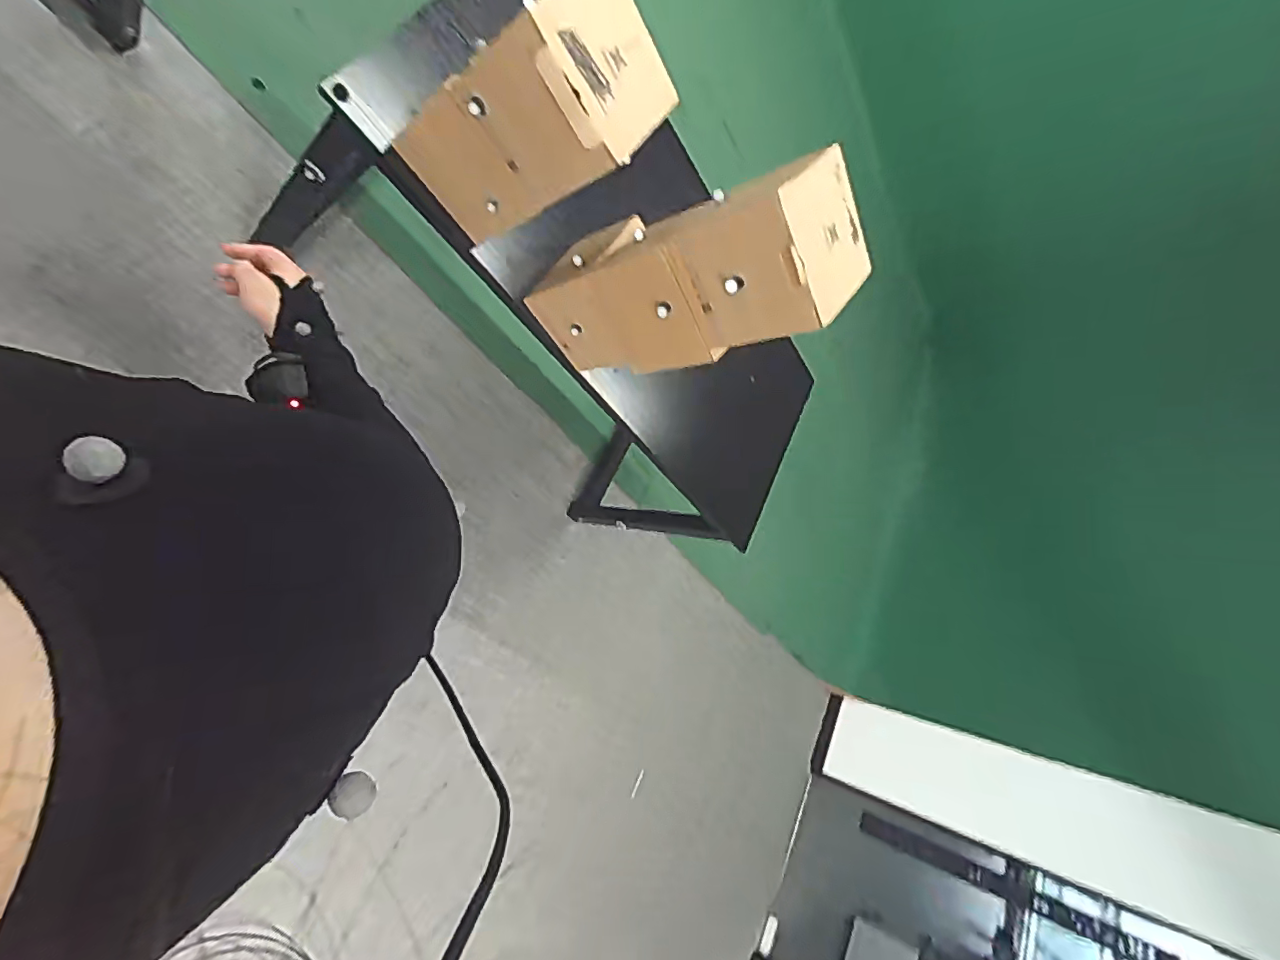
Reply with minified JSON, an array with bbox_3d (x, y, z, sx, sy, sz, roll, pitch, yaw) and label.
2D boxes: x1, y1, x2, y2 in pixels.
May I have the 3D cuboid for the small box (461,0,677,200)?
[{"bbox_3d":[-0.091,-0.482,0.665,0.168,0.176,0.179,51,58,-35],"label":"small box"}]

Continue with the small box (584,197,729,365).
[{"bbox_3d":[0.050,-0.289,0.820,0.168,0.176,0.179,-50,124,-30],"label":"small box"}]

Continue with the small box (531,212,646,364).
[{"bbox_3d":[-0.062,-0.320,0.935,0.168,0.176,0.179,51,58,-34],"label":"small box"}]

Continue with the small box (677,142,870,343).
[{"bbox_3d":[0.169,-0.298,0.706,0.179,0.176,0.168,-47,122,-31],"label":"small box"}]
